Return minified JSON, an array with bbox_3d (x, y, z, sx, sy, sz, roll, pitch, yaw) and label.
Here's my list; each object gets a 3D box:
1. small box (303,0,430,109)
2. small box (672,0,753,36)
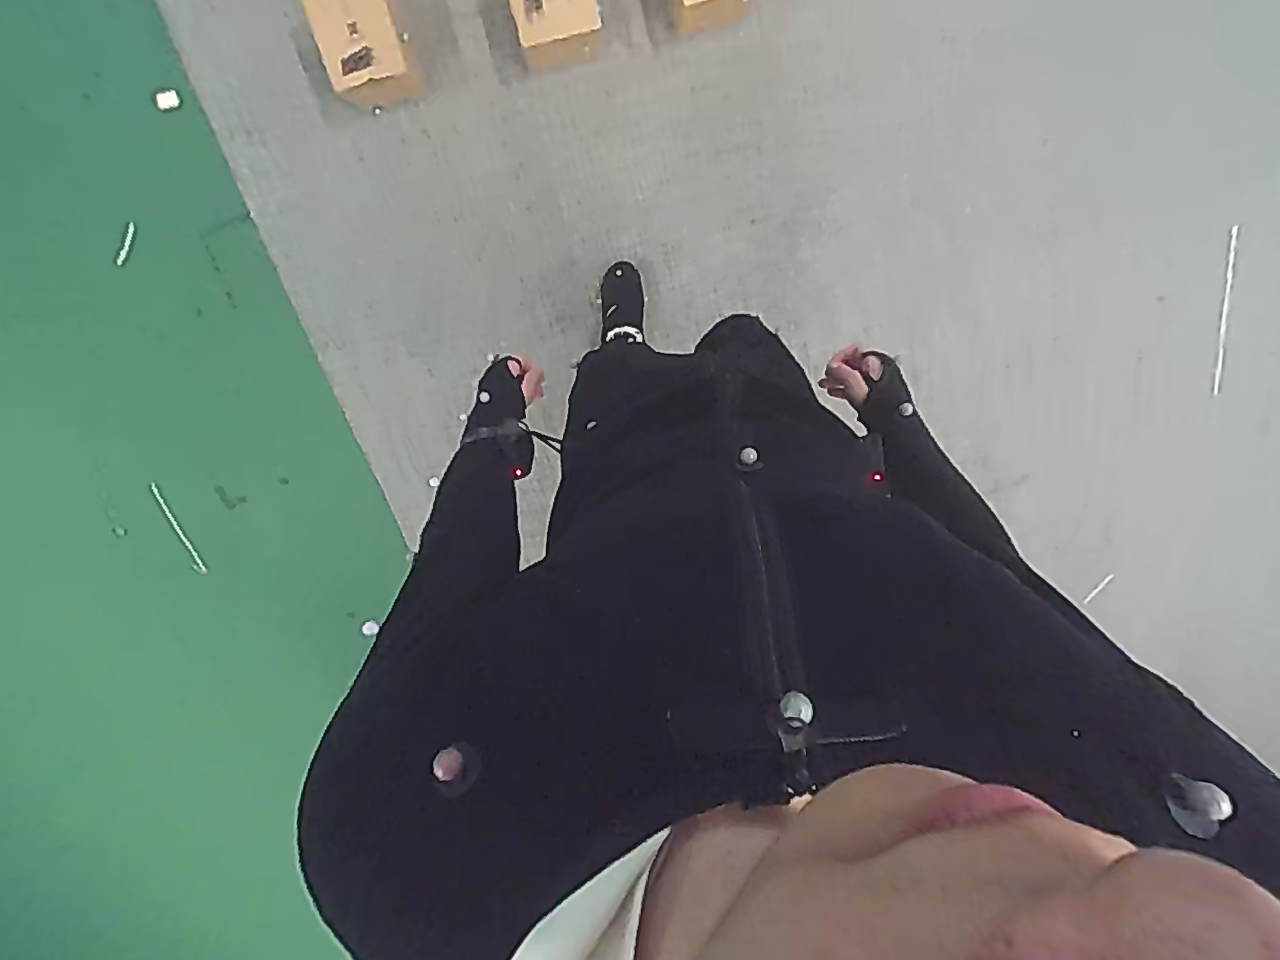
[{"bbox_3d":[-0.588,-0.947,1.188,0.168,0.176,0.179,-13,110,3],"label":"small box"},{"bbox_3d":[0.153,-1.100,1.158,0.179,0.176,0.168,-16,110,3],"label":"small box"}]
